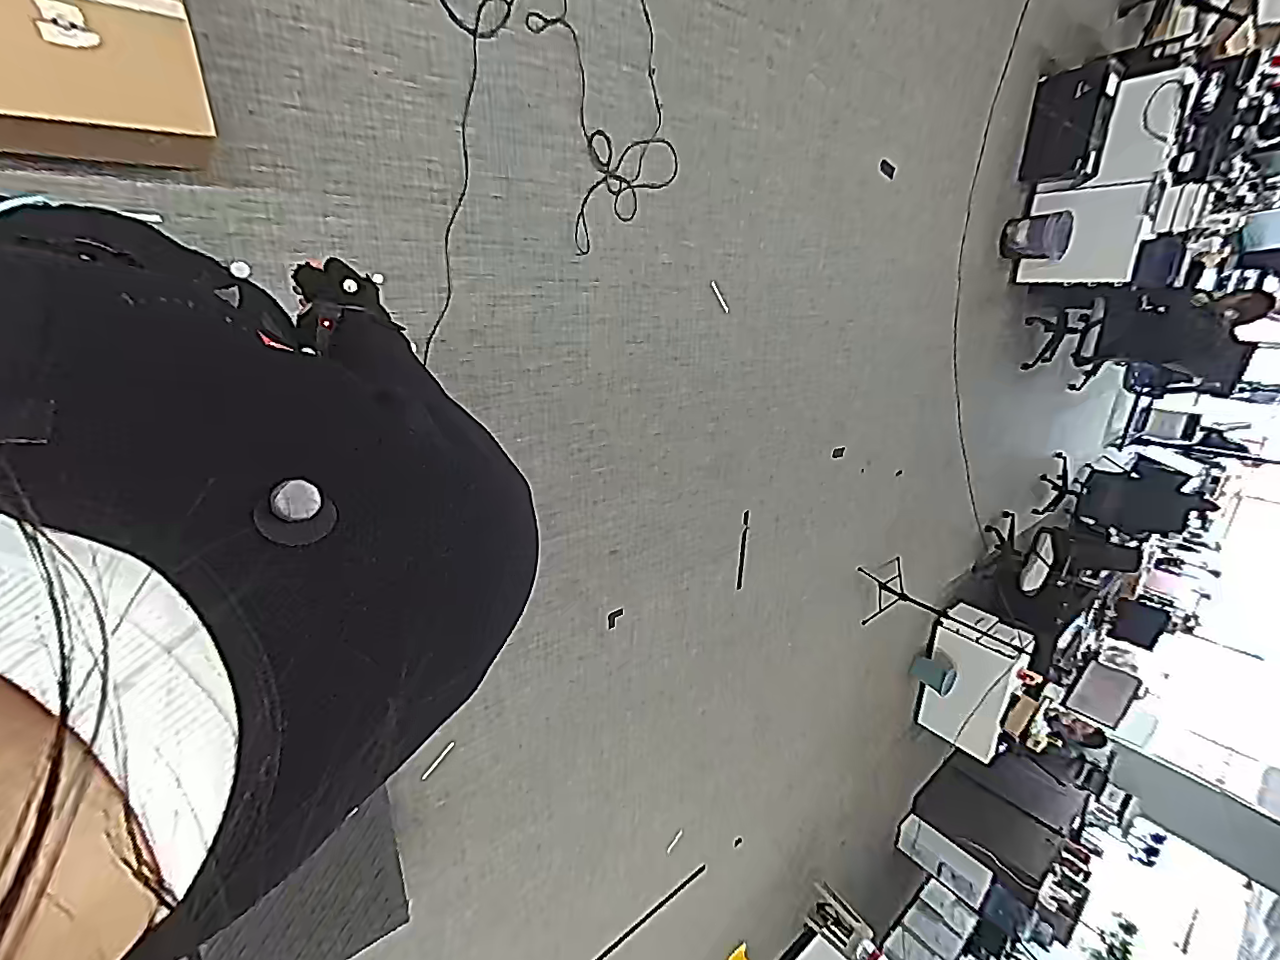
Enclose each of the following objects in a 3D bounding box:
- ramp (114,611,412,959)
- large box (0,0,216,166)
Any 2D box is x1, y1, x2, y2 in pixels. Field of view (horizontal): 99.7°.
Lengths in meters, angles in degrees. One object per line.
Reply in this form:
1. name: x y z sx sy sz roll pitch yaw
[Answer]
1. ramp: -0.923 0.877 1.405 0.509 0.206 0.991 -13 113 -35
2. large box: -0.910 -0.668 0.781 0.408 0.320 0.320 -17 116 -36
